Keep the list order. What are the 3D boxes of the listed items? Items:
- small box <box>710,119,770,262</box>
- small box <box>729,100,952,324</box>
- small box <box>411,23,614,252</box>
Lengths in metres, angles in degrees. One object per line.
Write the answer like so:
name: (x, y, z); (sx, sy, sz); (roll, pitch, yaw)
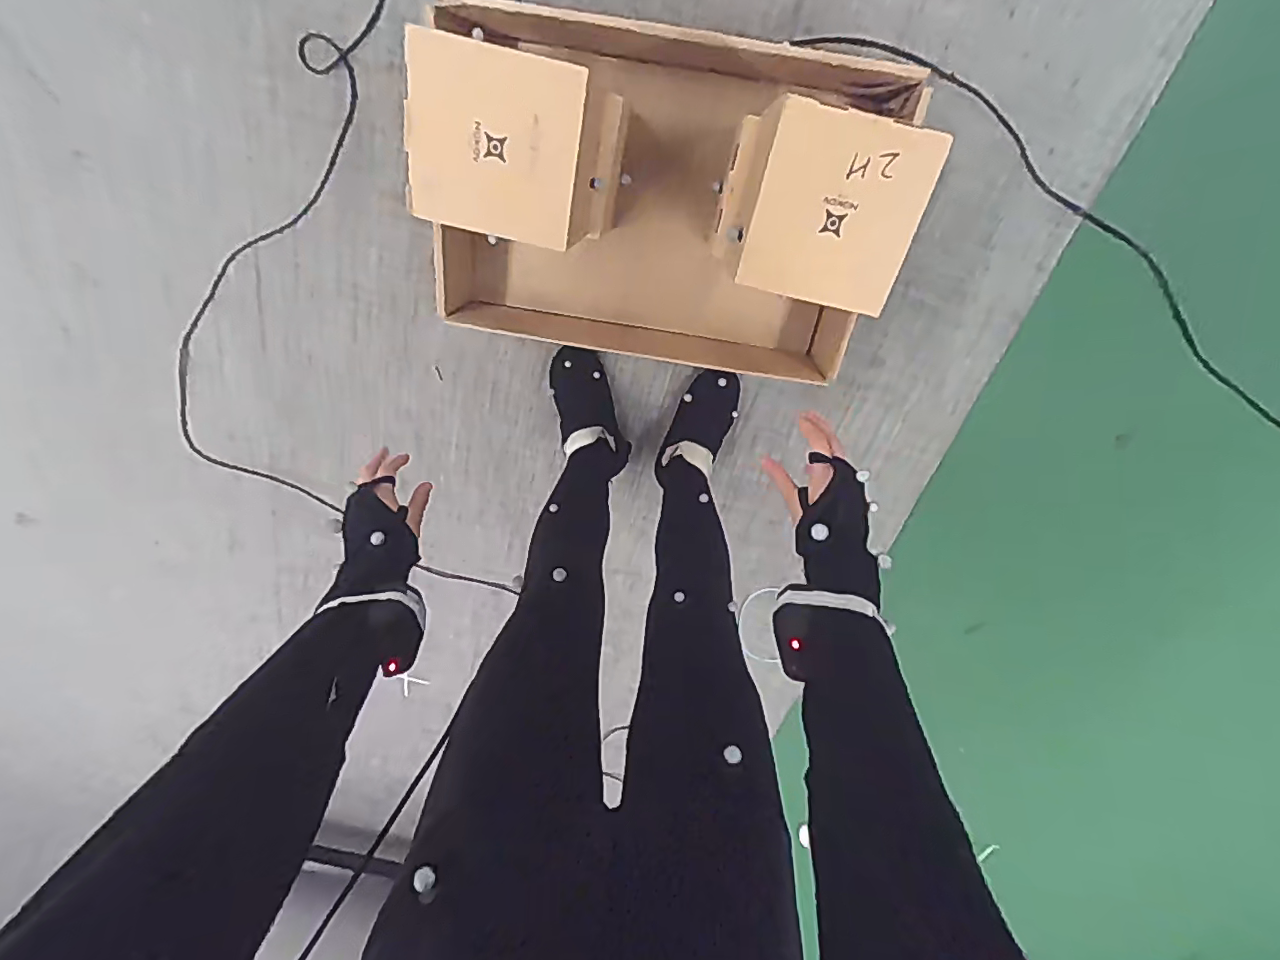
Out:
small box: (0.203, -0.383, 0.764); (0.179, 0.176, 0.168); (14, 118, -3)
small box: (0.206, -0.301, 0.620); (0.168, 0.176, 0.179); (13, 118, -4)
small box: (-0.136, -0.372, 0.610); (0.179, 0.176, 0.168); (13, 120, -4)
